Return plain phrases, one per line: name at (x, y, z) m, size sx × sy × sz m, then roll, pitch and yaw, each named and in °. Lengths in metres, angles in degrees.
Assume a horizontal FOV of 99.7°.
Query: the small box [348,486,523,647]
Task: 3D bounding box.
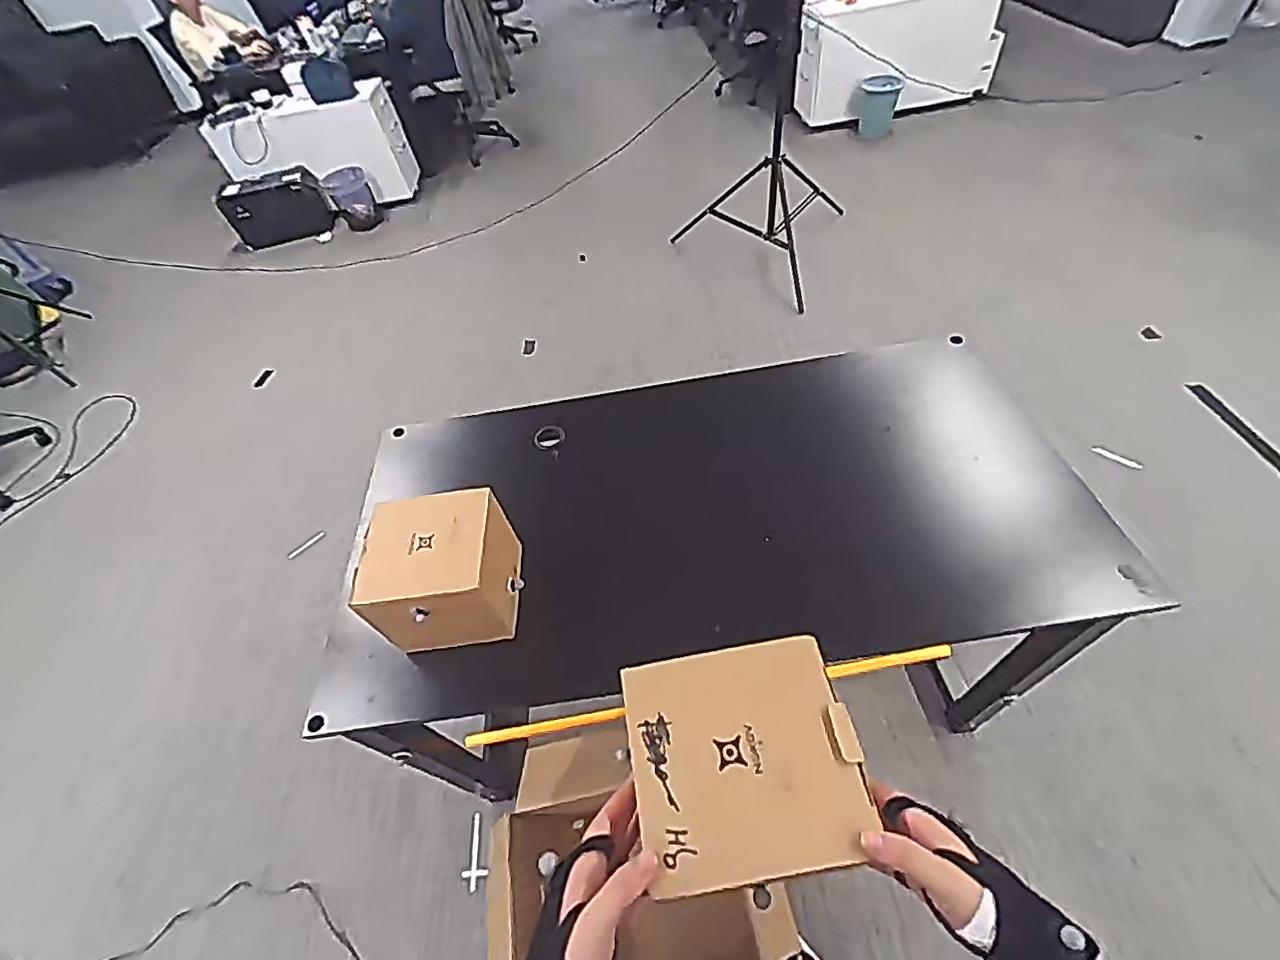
small box at (-0.284, 0.132, 0.794) m, size 0.179 × 0.176 × 0.168 m, roll -8°, pitch 52°, yaw 1°
